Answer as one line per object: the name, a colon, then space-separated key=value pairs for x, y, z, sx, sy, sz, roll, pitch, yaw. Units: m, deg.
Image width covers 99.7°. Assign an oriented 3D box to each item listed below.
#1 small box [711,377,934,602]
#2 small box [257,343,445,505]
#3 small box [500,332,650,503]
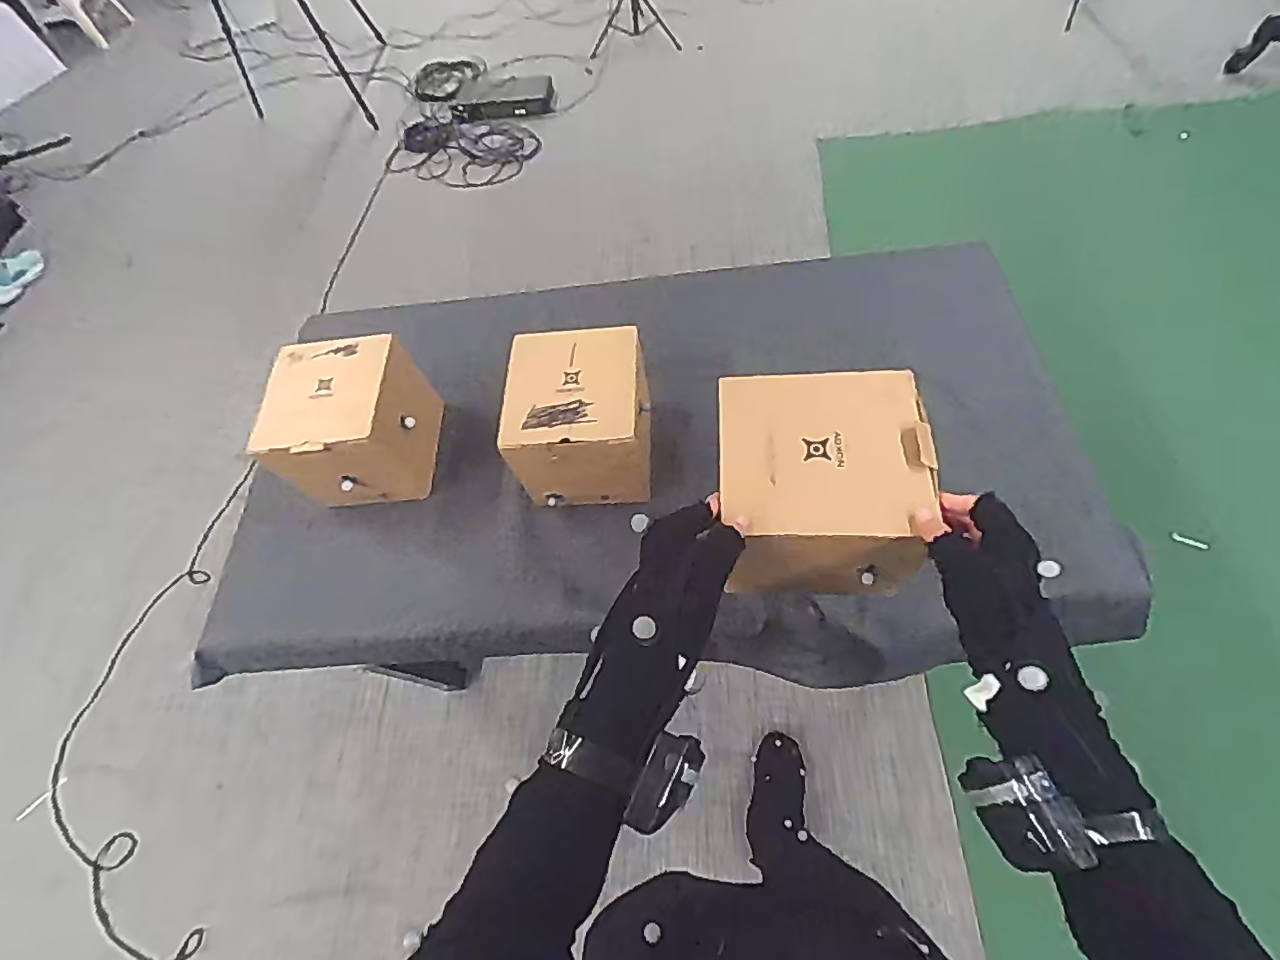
small box: x=0.164 y=0.018 z=0.542 sx=0.179 sy=0.176 sz=0.168 roll=-3 pitch=61 yaw=11
small box: x=-0.404 y=-0.072 z=0.793 sx=0.168 sy=0.176 sz=0.179 roll=-6 pitch=63 yaw=5
small box: x=-0.076 y=-0.076 z=0.747 sx=0.168 sy=0.176 sz=0.179 roll=-3 pitch=61 yaw=7
